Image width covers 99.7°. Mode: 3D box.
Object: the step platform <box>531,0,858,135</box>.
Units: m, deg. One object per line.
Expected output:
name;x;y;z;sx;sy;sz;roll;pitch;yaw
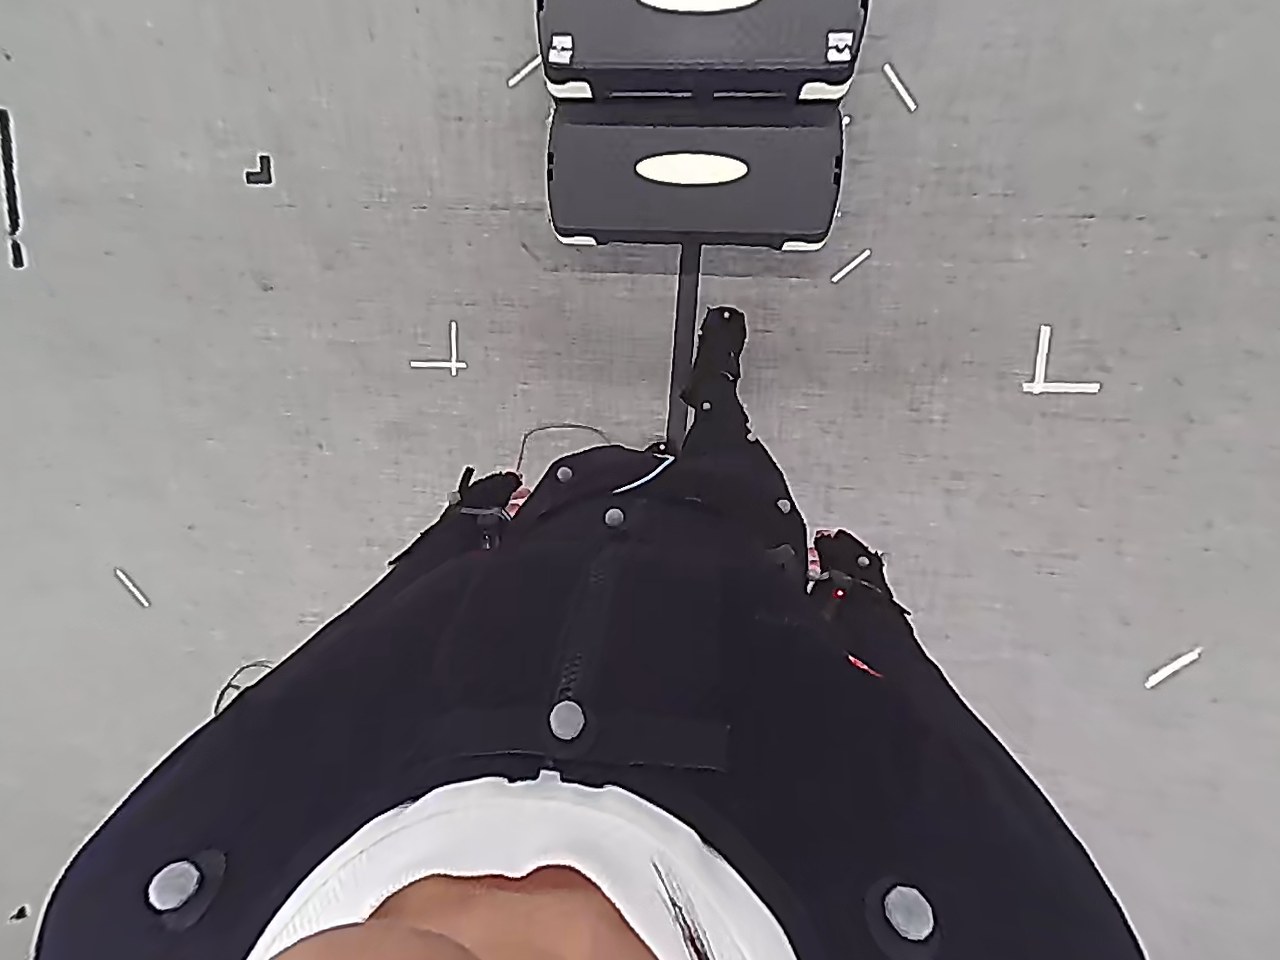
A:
step platform;0.109;-0.953;1.180;0.684;0.204;0.286;2;100;4
